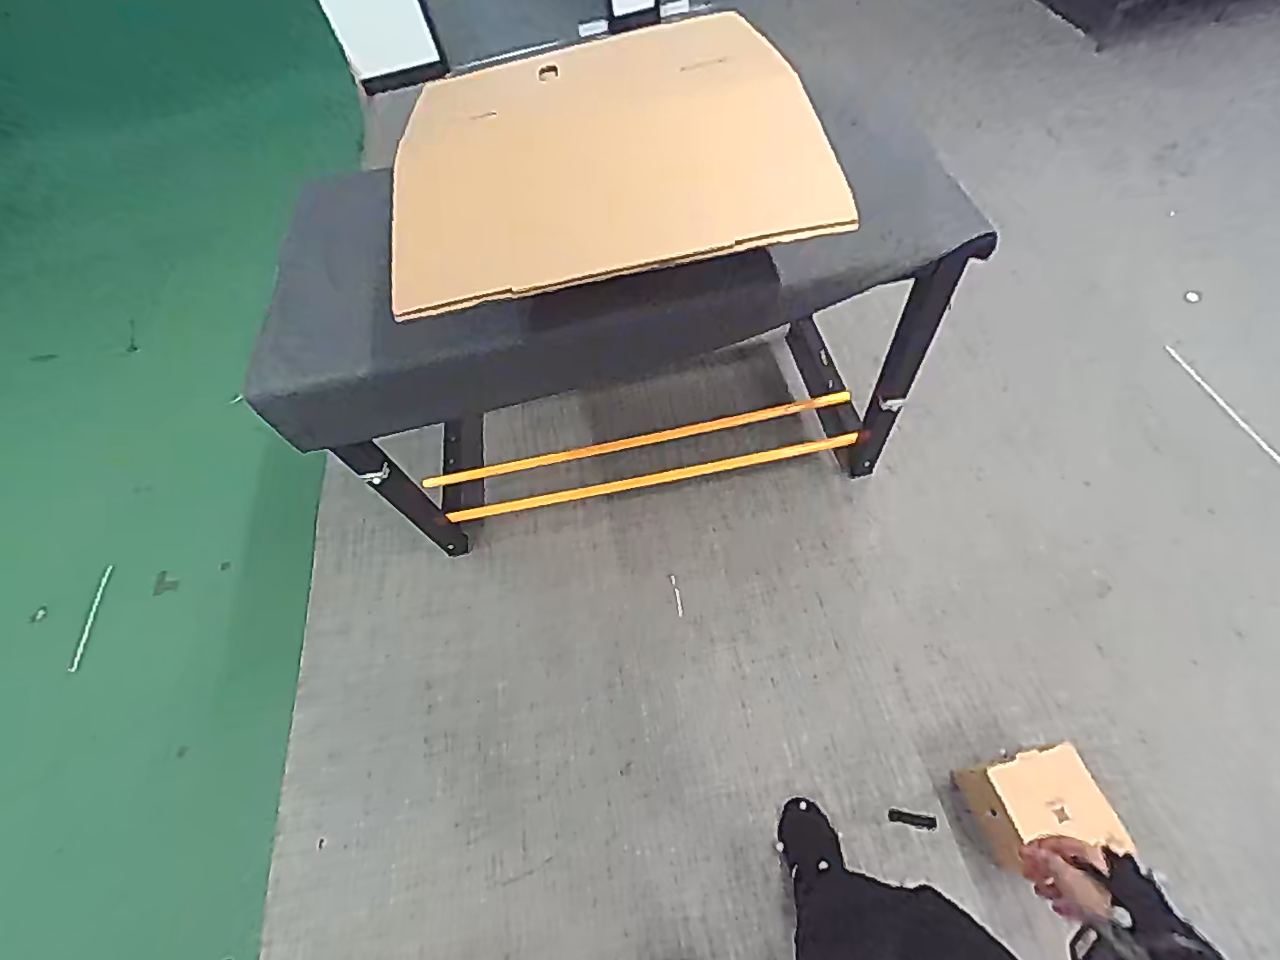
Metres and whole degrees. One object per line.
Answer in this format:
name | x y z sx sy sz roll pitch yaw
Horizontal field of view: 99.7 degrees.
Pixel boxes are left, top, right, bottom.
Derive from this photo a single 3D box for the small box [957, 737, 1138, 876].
small box | 0.728 0.597 0.996 0.168 0.176 0.179 -17 58 -1
